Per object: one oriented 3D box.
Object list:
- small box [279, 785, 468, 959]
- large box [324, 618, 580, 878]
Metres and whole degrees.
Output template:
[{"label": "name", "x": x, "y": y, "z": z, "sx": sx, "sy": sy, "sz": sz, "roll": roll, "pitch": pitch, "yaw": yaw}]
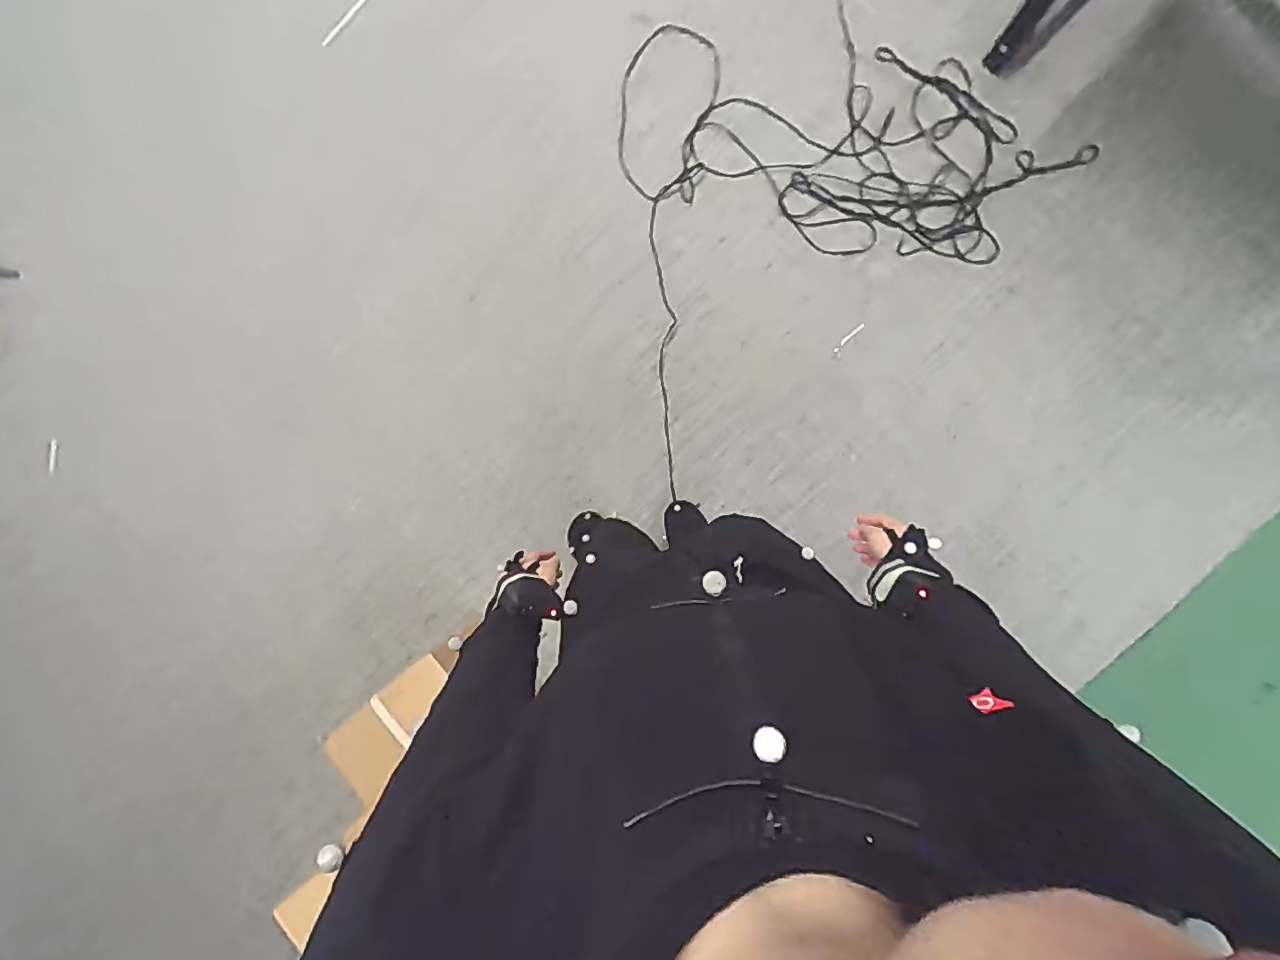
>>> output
[{"label": "small box", "x": -0.395, "y": 0.625, "z": 0.841, "sx": 0.179, "sy": 0.176, "sz": 0.168, "roll": -41, "pitch": 86, "yaw": 4}, {"label": "large box", "x": -0.403, "y": 0.598, "z": 1.251, "sx": 0.320, "sy": 0.320, "sz": 0.408, "roll": -41, "pitch": 86, "yaw": 2}]
